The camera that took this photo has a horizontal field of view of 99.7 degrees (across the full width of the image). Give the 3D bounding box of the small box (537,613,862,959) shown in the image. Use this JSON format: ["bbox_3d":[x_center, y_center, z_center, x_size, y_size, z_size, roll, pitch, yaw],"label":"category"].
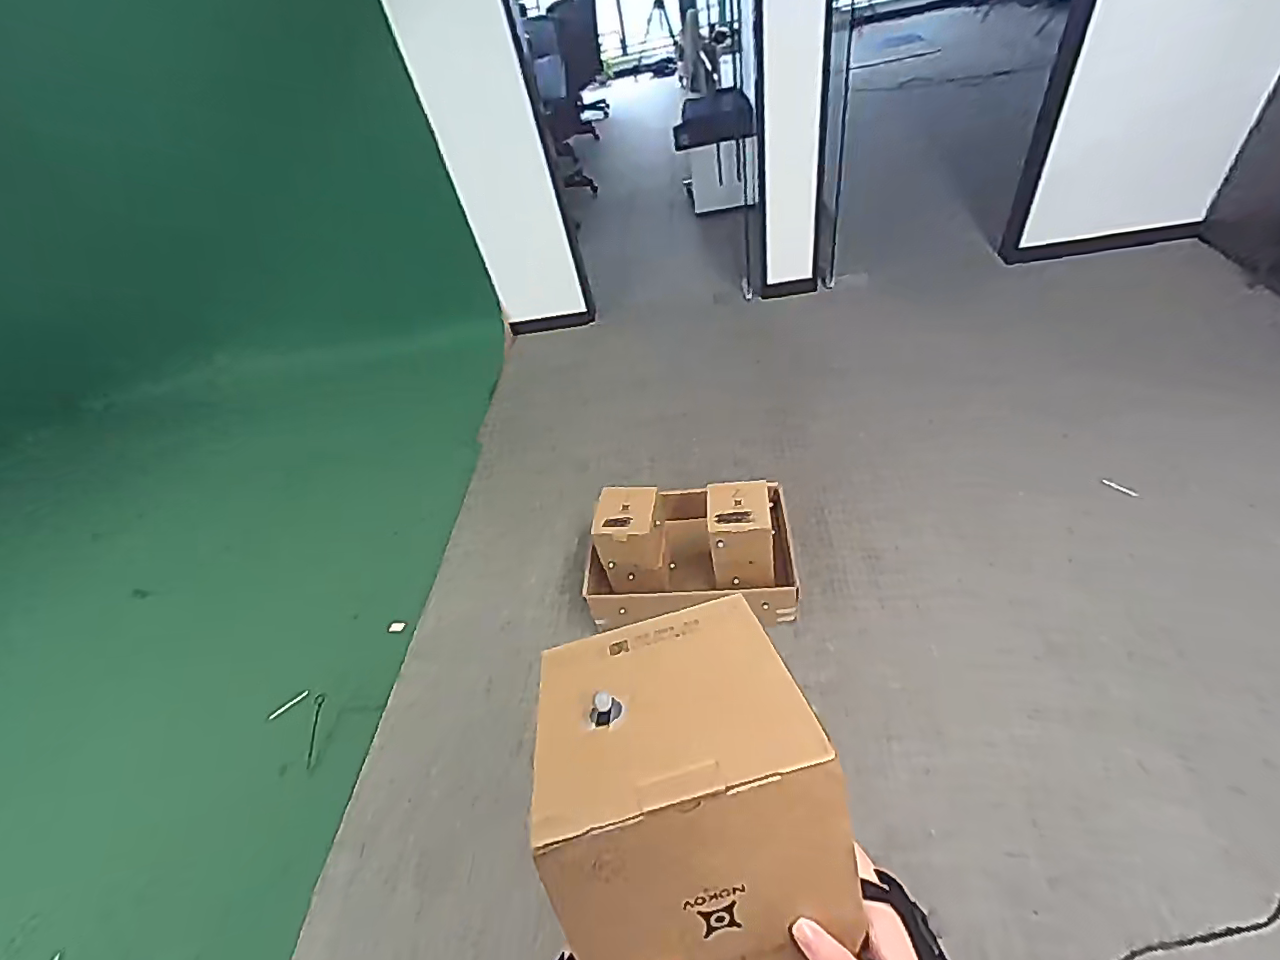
[{"bbox_3d":[0.032,0.215,0.381,0.168,0.179,0.176,-14,19,-2],"label":"small box"}]

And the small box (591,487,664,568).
[{"bbox_3d":[-0.028,0.139,1.569,0.168,0.176,0.179,0,46,13],"label":"small box"}]
